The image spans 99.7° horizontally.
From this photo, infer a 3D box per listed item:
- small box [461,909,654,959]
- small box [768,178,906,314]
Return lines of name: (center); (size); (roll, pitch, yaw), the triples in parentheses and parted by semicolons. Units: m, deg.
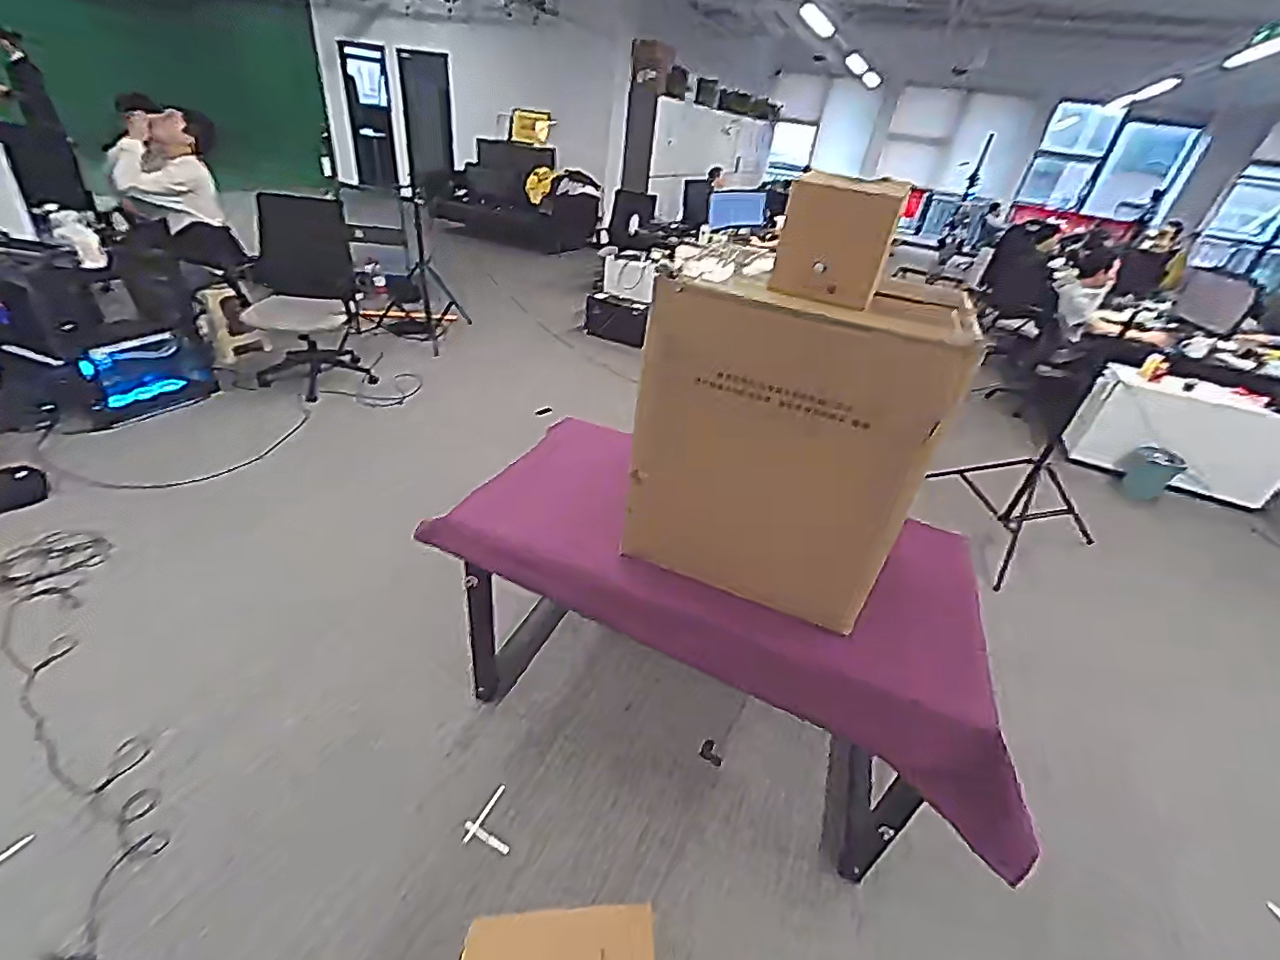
small box: (-0.069, 0.505, 0.444); (0.179, 0.176, 0.168); (-2, 0, -3)
small box: (0.328, -0.397, 0.909); (0.168, 0.176, 0.179); (20, 37, 18)
